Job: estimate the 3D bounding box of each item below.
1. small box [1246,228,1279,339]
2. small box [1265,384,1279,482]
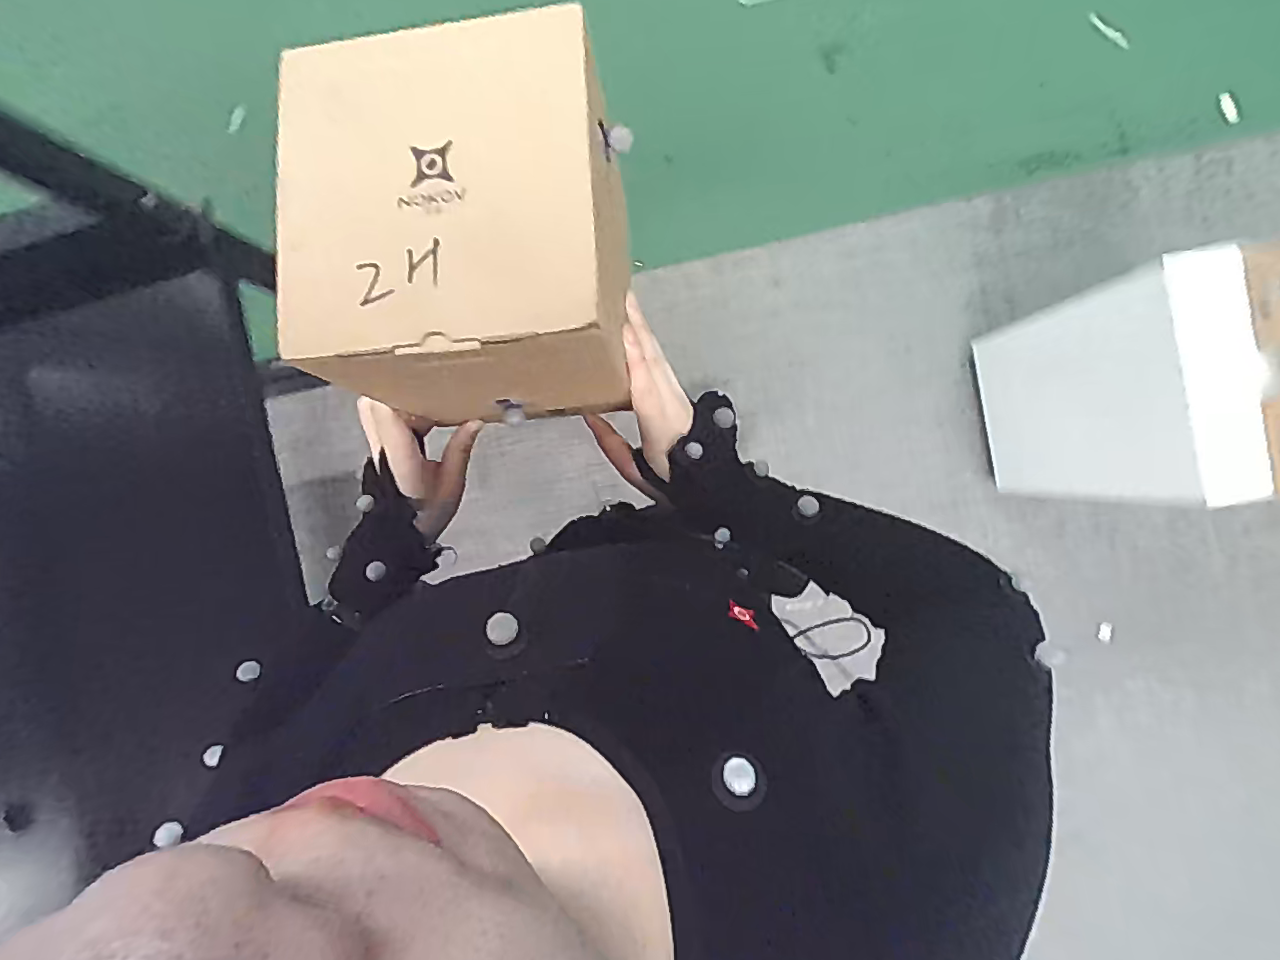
[{"bbox_3d":[1.038,-0.310,0.762,0.179,0.176,0.168,-10,92,4],"label":"small box"},{"bbox_3d":[1.073,-0.081,0.767,0.179,0.176,0.168,-9,90,4],"label":"small box"}]
